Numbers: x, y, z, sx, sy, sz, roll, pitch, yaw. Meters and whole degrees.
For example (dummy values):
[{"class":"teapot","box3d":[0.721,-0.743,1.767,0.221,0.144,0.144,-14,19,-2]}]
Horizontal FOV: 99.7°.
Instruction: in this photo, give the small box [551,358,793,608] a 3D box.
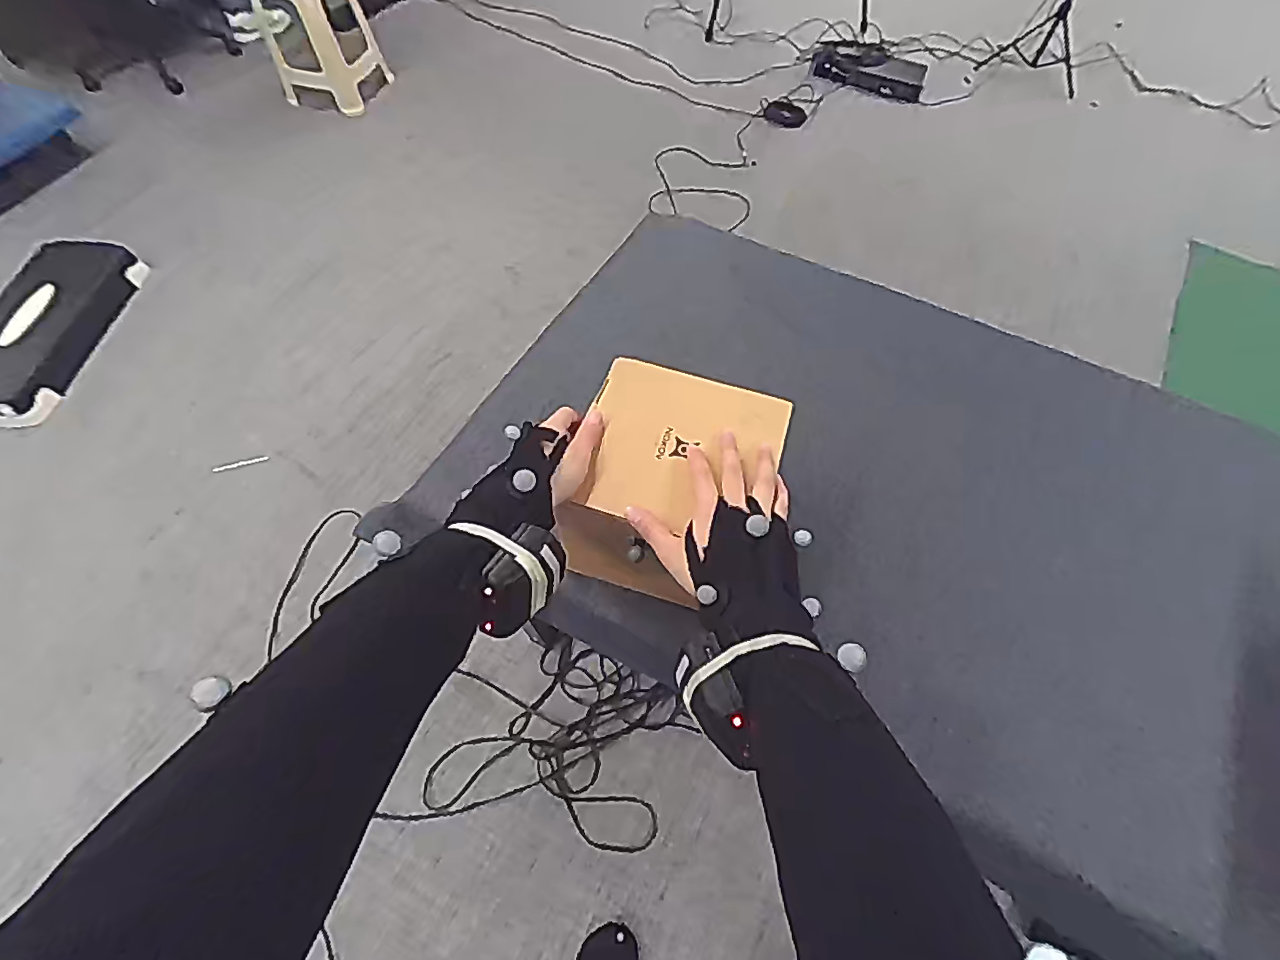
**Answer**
[{"class":"small box","box3d":[0.032,0.013,0.539,0.179,0.176,0.168,17,61,8]}]
